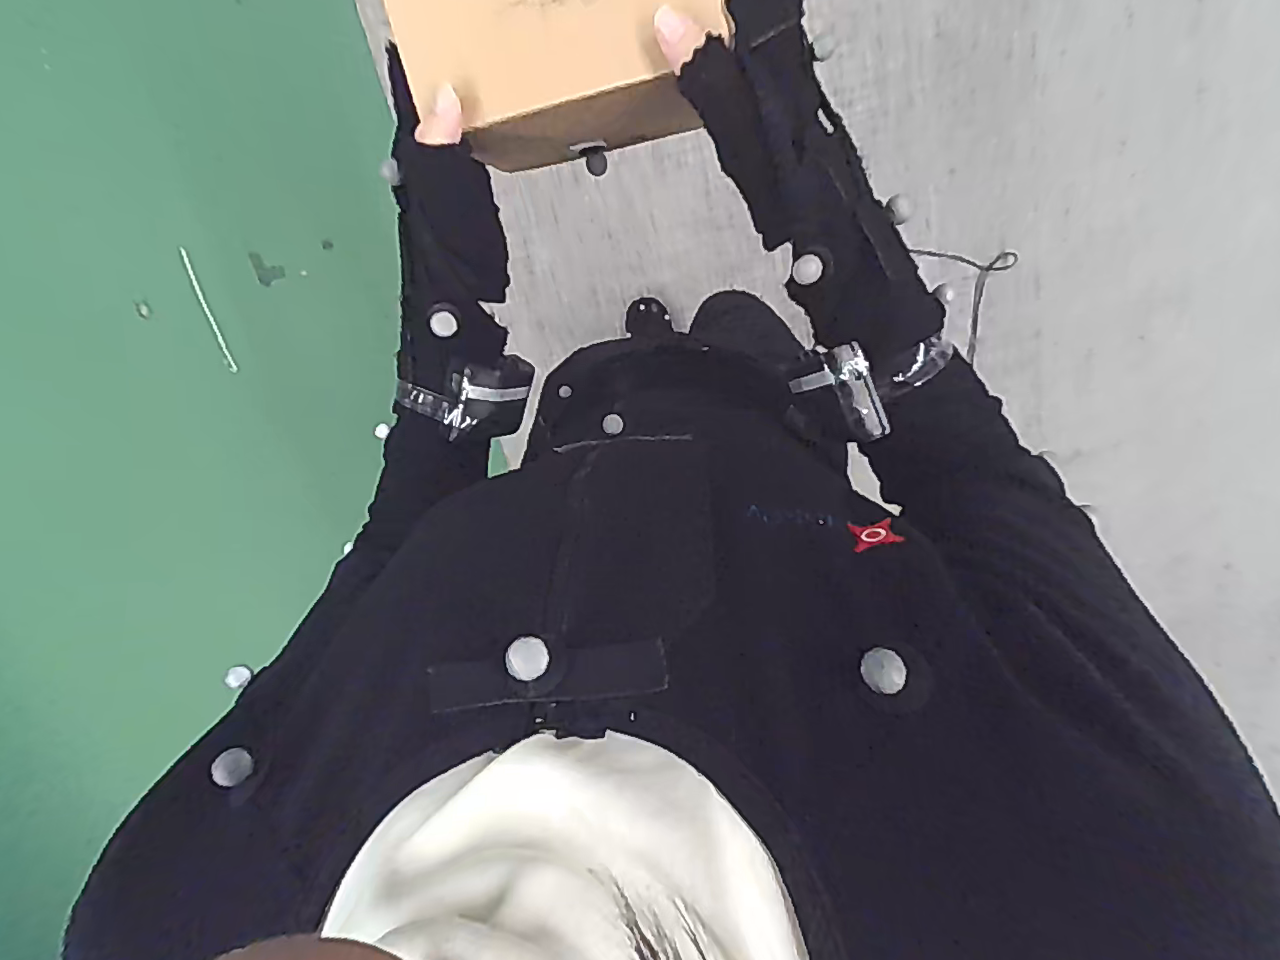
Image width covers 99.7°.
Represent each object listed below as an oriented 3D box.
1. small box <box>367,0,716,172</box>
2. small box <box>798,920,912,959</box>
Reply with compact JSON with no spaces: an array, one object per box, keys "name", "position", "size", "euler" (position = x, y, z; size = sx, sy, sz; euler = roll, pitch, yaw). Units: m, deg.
[{"name":"small box","position":[-0.051,-0.301,0.314],"size":[0.168,0.176,0.179],"euler":[-8,113,9]},{"name":"small box","position":[0.356,0.843,0.861],"size":[0.179,0.176,0.168],"euler":[-11,109,11]}]
